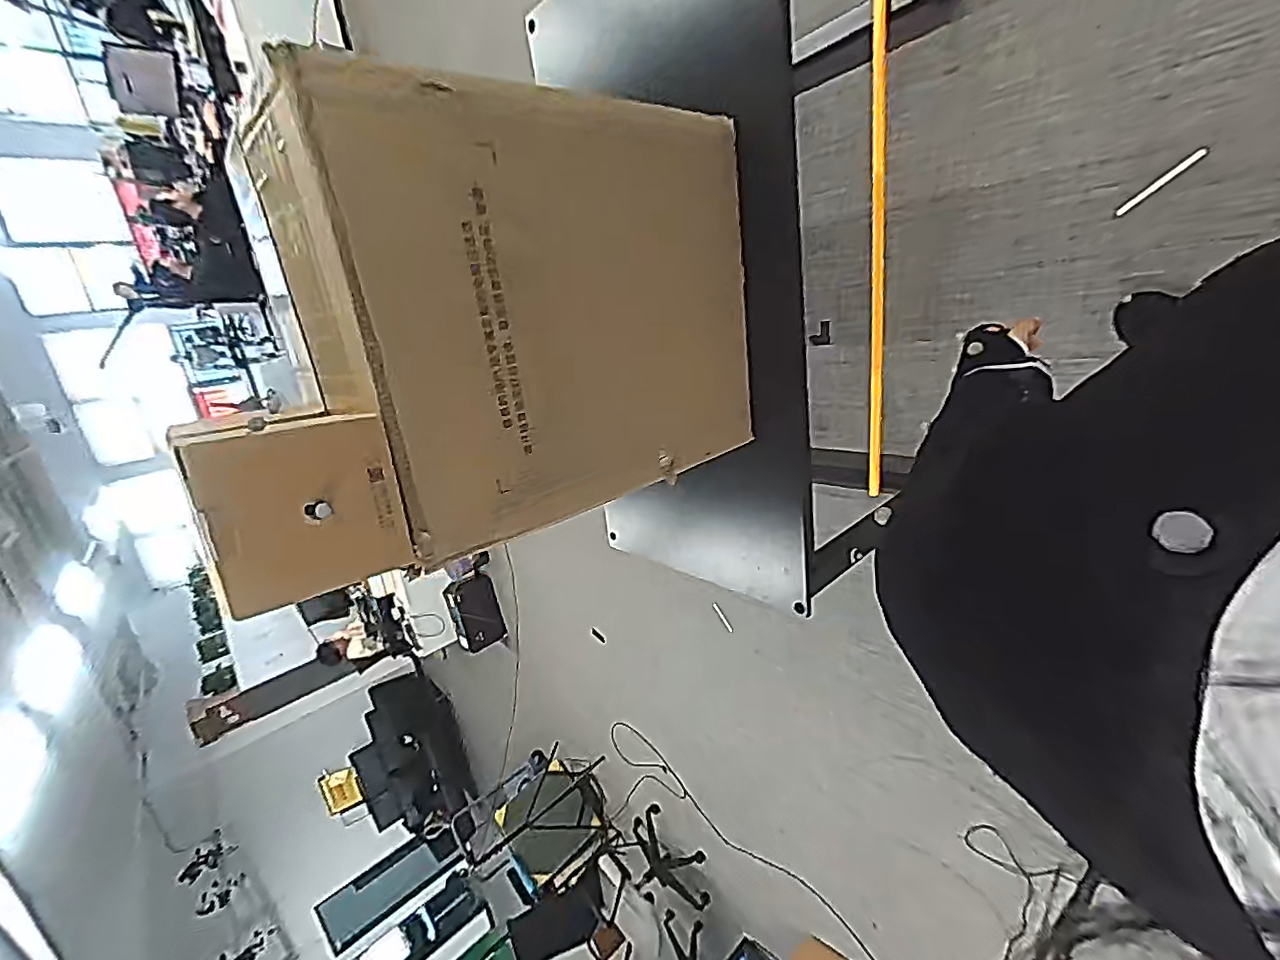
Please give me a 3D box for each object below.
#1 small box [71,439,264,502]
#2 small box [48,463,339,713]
[{"bbox_3d":[-0.549,0.060,0.676,0.168,0.176,0.179,15,117,48],"label":"small box"},{"bbox_3d":[-0.413,0.082,0.521,0.179,0.176,0.168,4,108,46],"label":"small box"}]
